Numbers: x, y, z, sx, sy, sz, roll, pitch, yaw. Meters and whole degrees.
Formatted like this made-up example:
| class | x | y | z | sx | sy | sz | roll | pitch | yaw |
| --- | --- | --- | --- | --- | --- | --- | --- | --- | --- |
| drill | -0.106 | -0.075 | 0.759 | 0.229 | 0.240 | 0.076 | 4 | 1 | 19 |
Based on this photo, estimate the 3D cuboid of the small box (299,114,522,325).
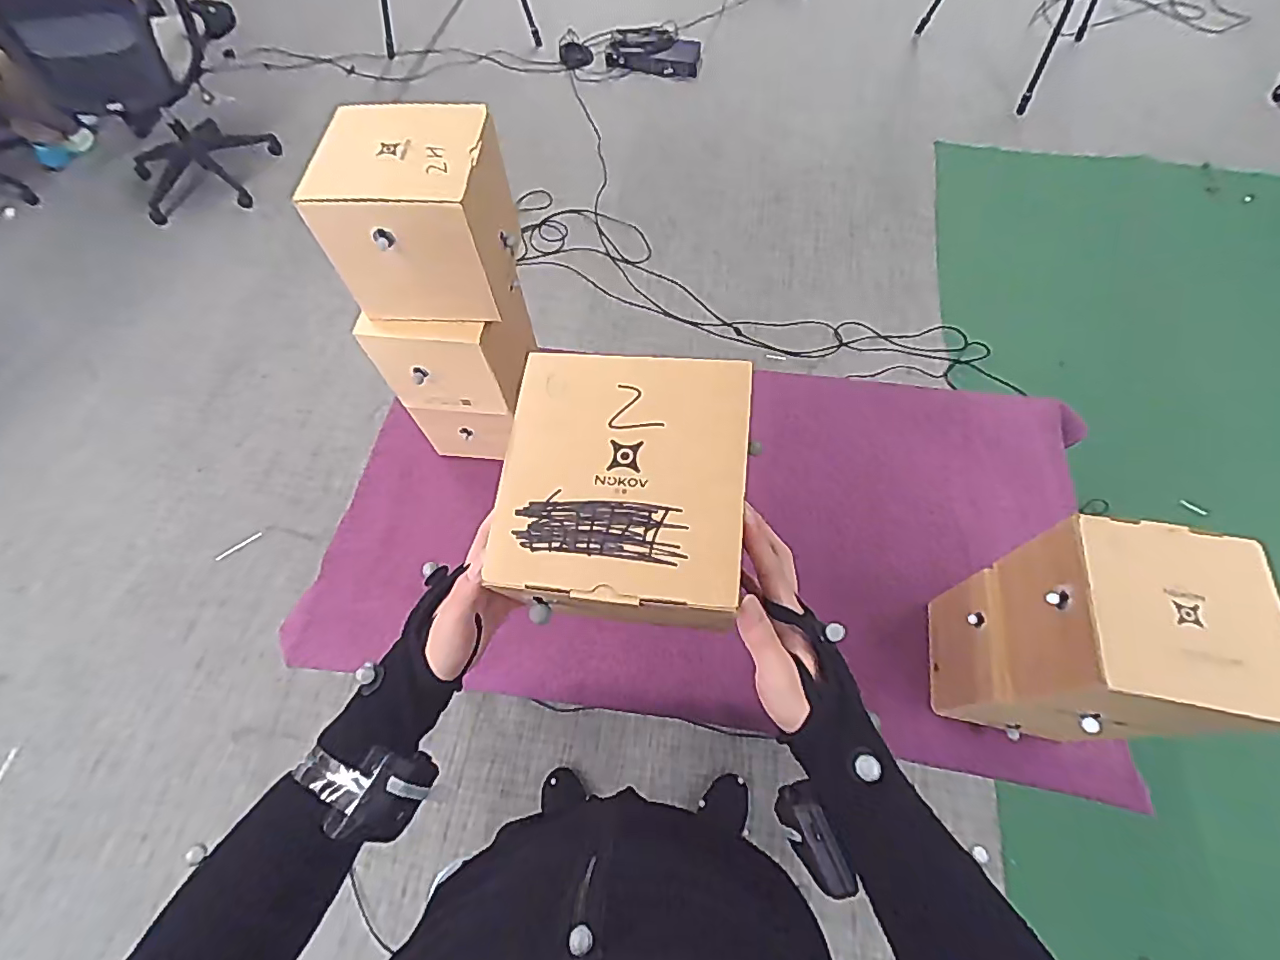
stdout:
| class | x | y | z | sx | sy | sz | roll | pitch | yaw |
| --- | --- | --- | --- | --- | --- | --- | --- | --- | --- |
| small box | -0.254 | -0.305 | 0.649 | 0.179 | 0.176 | 0.168 | 2 | 63 | 2 |

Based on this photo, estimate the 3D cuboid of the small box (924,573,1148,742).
| class | x | y | z | sx | sy | sz | roll | pitch | yaw |
| --- | --- | --- | --- | --- | --- | --- | --- | --- | --- |
| small box | 0.507 | 0.242 | 0.721 | 0.179 | 0.176 | 0.168 | 11 | 62 | 7 |

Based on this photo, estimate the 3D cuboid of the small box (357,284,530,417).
| class | x | y | z | sx | sy | sz | roll | pitch | yaw |
| --- | --- | --- | --- | --- | --- | --- | --- | --- | --- |
| small box | -0.267 | -0.209 | 0.785 | 0.168 | 0.176 | 0.179 | 5 | 63 | 3 |

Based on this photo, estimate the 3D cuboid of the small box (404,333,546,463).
| class | x | y | z | sx | sy | sz | roll | pitch | yaw |
| --- | --- | --- | --- | --- | --- | --- | --- | --- | --- |
| small box | -0.269 | -0.140 | 0.932 | 0.179 | 0.176 | 0.168 | 4 | 63 | 4 |

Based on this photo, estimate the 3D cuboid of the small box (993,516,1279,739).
| class | x | y | z | sx | sy | sz | roll | pitch | yaw |
| --- | --- | --- | --- | --- | --- | --- | --- | --- | --- |
| small box | 0.507 | 0.163 | 0.578 | 0.168 | 0.176 | 0.179 | 10 | 63 | 8 |
